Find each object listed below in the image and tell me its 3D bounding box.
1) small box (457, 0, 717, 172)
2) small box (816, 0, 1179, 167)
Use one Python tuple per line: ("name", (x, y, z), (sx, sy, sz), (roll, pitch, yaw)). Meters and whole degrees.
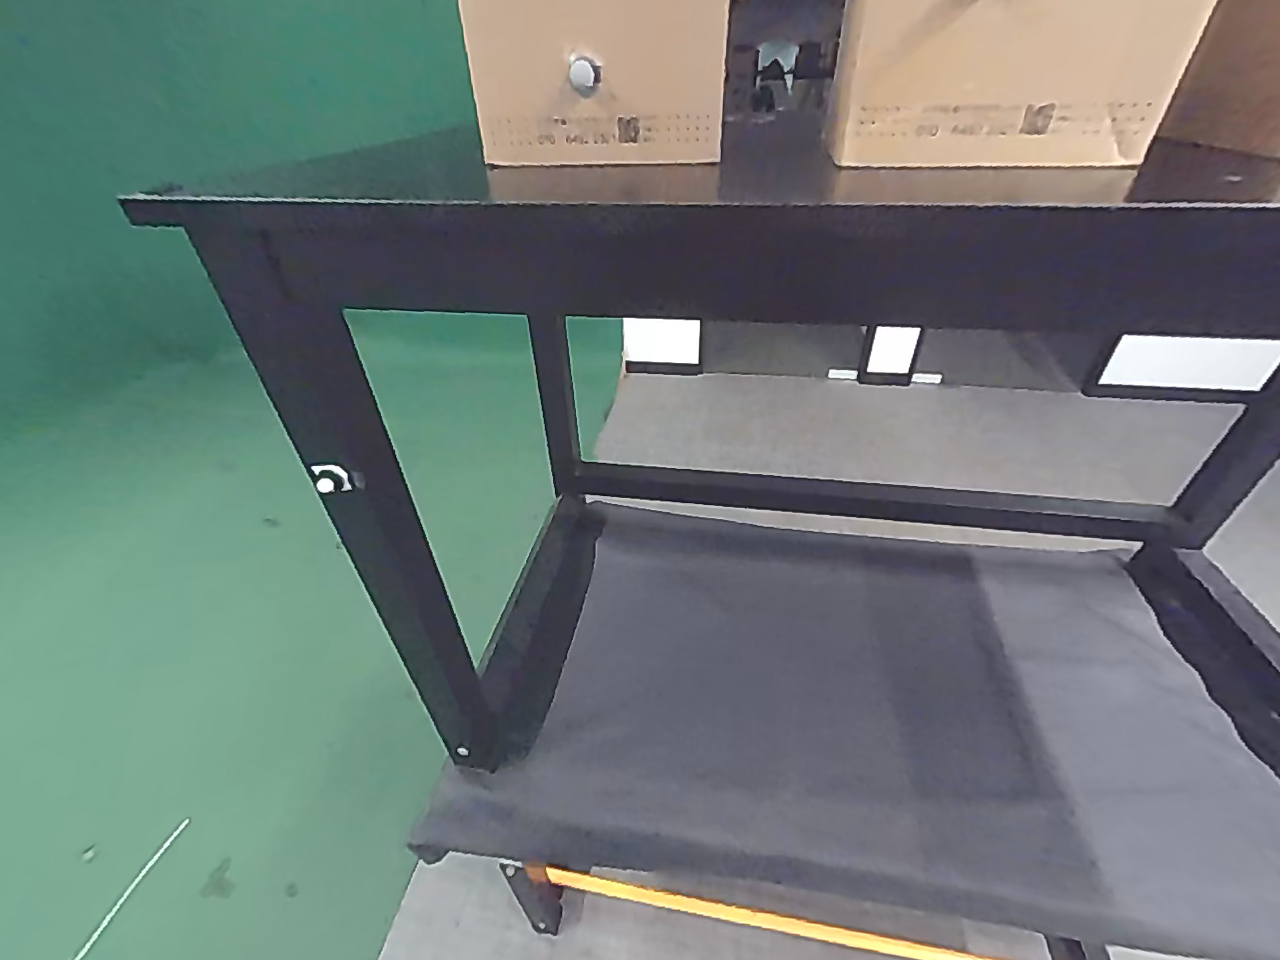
("small box", (-0.028, -0.334, 0.394), (0.168, 0.176, 0.179), (2, 38, 7))
("small box", (0.209, -0.301, 0.337), (0.168, 0.176, 0.179), (6, 37, 11))
